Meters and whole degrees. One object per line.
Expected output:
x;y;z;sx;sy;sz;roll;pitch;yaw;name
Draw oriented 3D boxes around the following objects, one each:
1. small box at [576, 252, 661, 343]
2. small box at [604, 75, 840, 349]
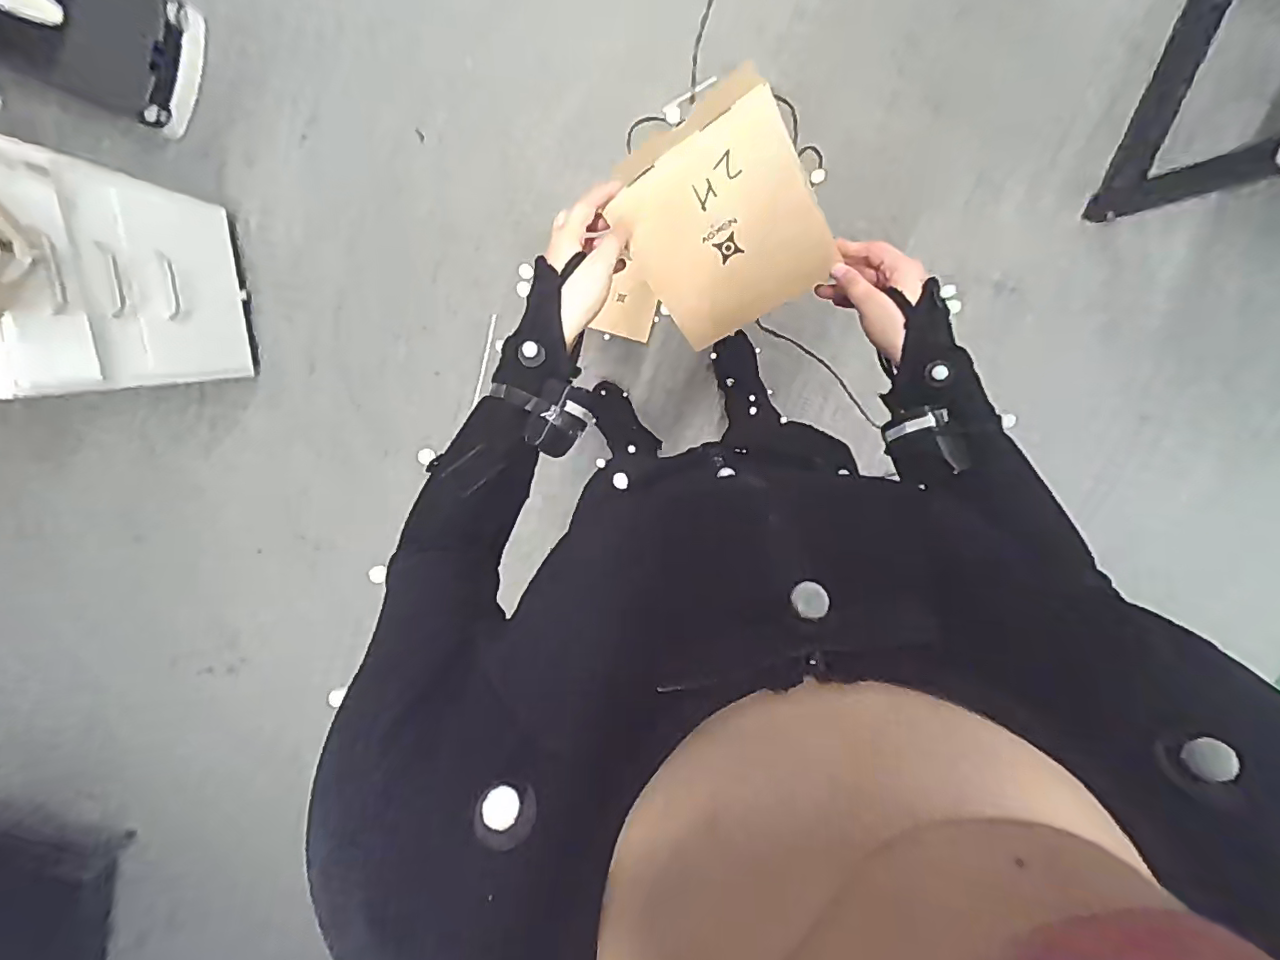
-0.043;-0.436;1.306;0.179;0.176;0.168;14;105;-2;small box
0.086;-0.278;0.564;0.168;0.176;0.179;-25;124;25;small box
